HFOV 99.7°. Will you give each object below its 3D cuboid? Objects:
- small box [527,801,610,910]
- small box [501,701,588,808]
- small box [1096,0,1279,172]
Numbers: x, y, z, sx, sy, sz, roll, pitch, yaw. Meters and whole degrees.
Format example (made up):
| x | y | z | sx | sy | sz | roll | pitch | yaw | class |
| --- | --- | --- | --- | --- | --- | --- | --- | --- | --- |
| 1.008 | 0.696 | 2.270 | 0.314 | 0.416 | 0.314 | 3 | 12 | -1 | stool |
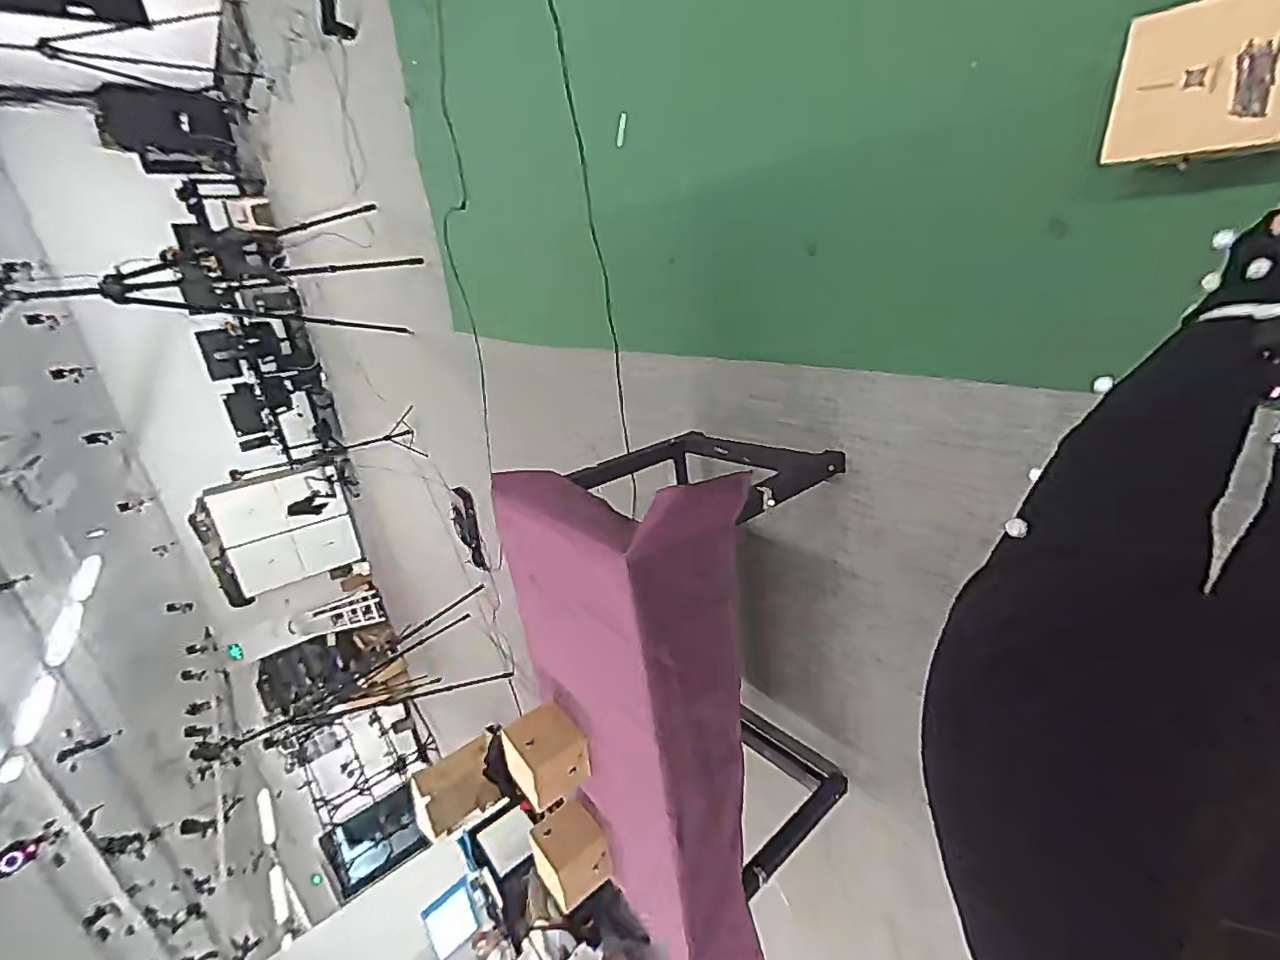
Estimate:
| x | y | z | sx | sy | sz | roll | pitch | yaw | class |
| --- | --- | --- | --- | --- | --- | --- | --- | --- | --- |
| -0.211 | 1.096 | 1.599 | 0.179 | 0.176 | 0.168 | 16 | 120 | 49 | small box |
| -0.262 | 0.746 | 1.496 | 0.179 | 0.176 | 0.168 | 25 | 126 | 45 | small box |
| 0.761 | -0.515 | 0.718 | 0.179 | 0.176 | 0.168 | 25 | 126 | 48 | small box |
